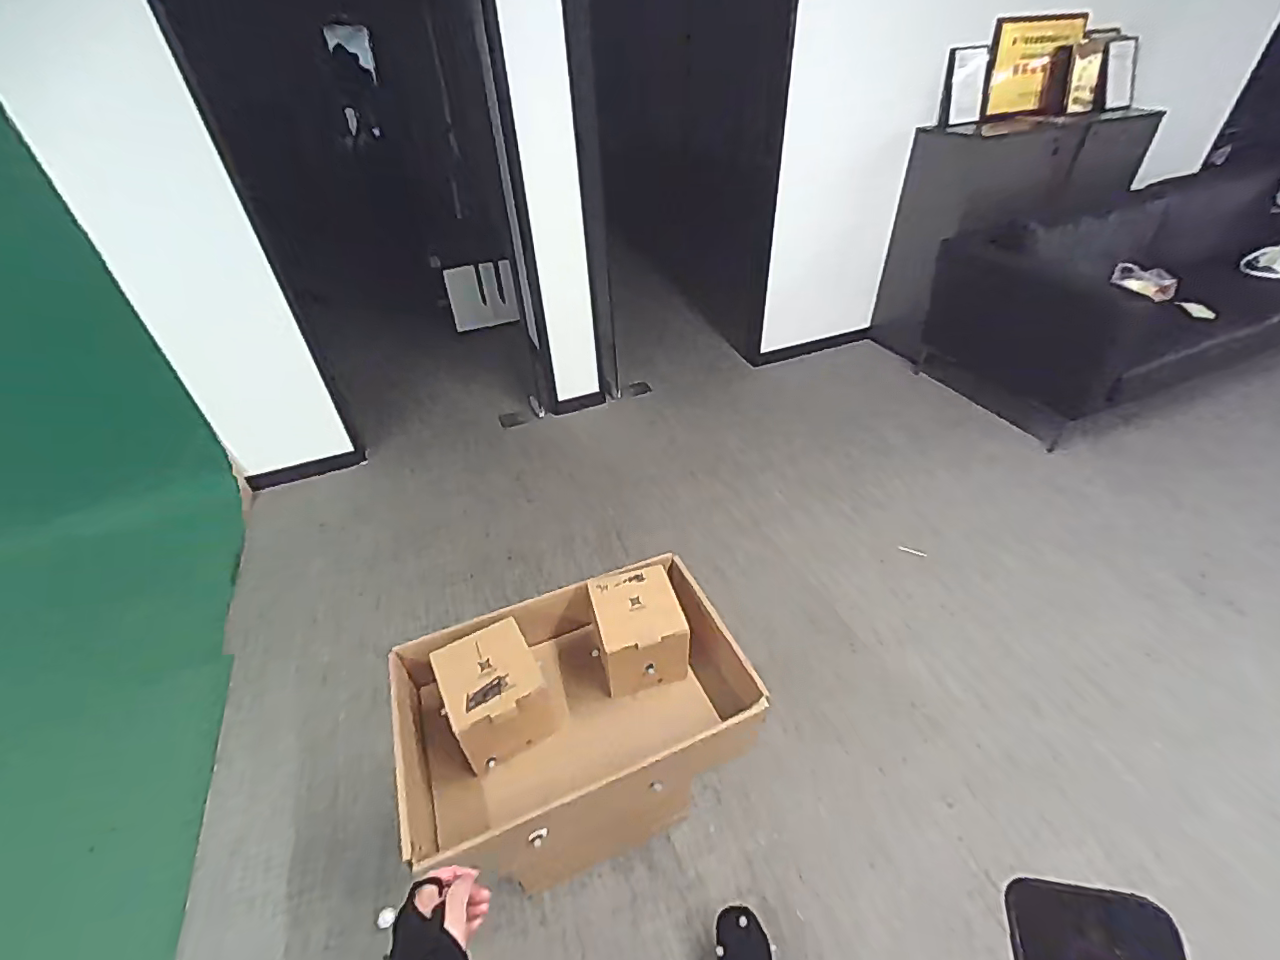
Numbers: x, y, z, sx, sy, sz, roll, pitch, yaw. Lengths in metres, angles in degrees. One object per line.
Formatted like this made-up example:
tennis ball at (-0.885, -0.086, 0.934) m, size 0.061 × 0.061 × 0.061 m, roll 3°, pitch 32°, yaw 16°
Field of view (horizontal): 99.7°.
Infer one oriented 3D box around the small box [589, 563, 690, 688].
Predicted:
small box at (0.000, 0.304, 1.114) m, size 0.168 × 0.176 × 0.179 m, roll -12°, pitch 42°, yaw -11°
